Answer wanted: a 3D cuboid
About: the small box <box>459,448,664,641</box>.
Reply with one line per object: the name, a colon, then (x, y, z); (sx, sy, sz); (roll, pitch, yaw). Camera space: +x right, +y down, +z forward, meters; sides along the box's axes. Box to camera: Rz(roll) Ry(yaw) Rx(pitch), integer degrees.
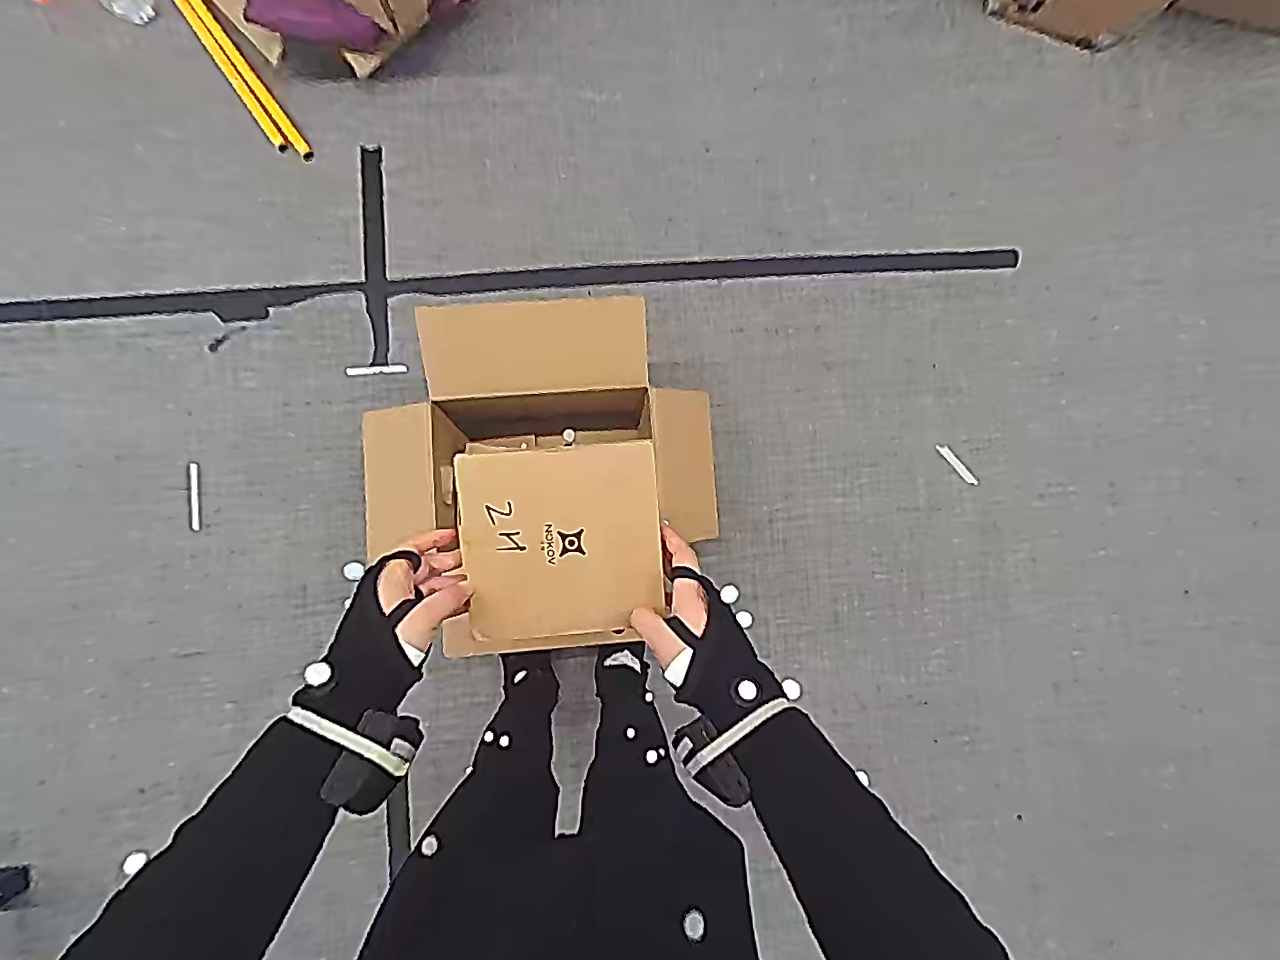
small box: (-0.073, 0.053, 0.565); (0.179, 0.176, 0.168); (-4, 93, -2)
